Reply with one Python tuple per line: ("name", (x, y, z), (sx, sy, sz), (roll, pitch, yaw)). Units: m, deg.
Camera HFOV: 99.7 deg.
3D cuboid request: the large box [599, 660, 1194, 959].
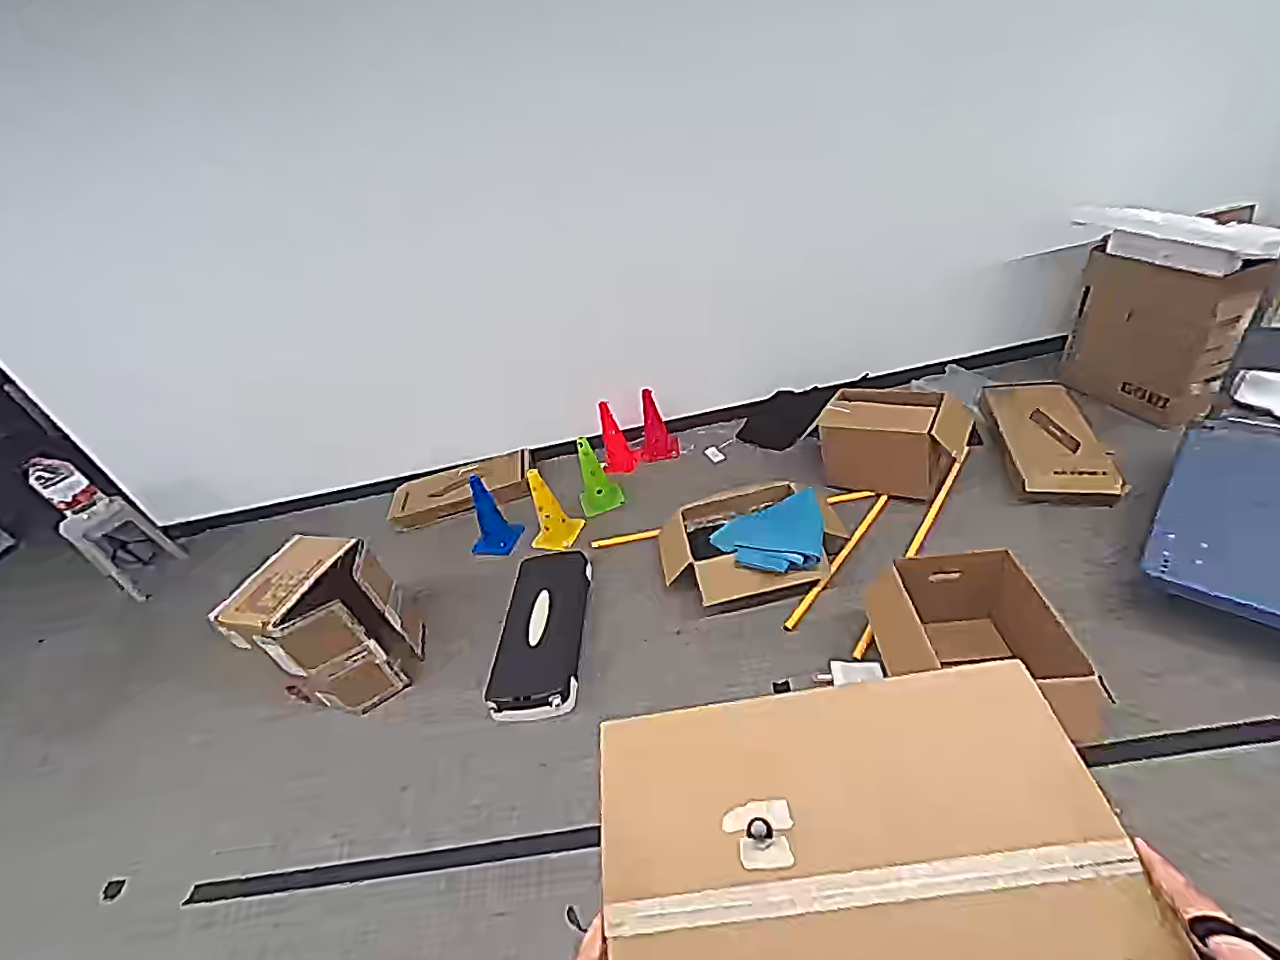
("large box", (0.200, 0.415, 0.517), (0.408, 0.320, 0.320), (-12, 45, 6))
